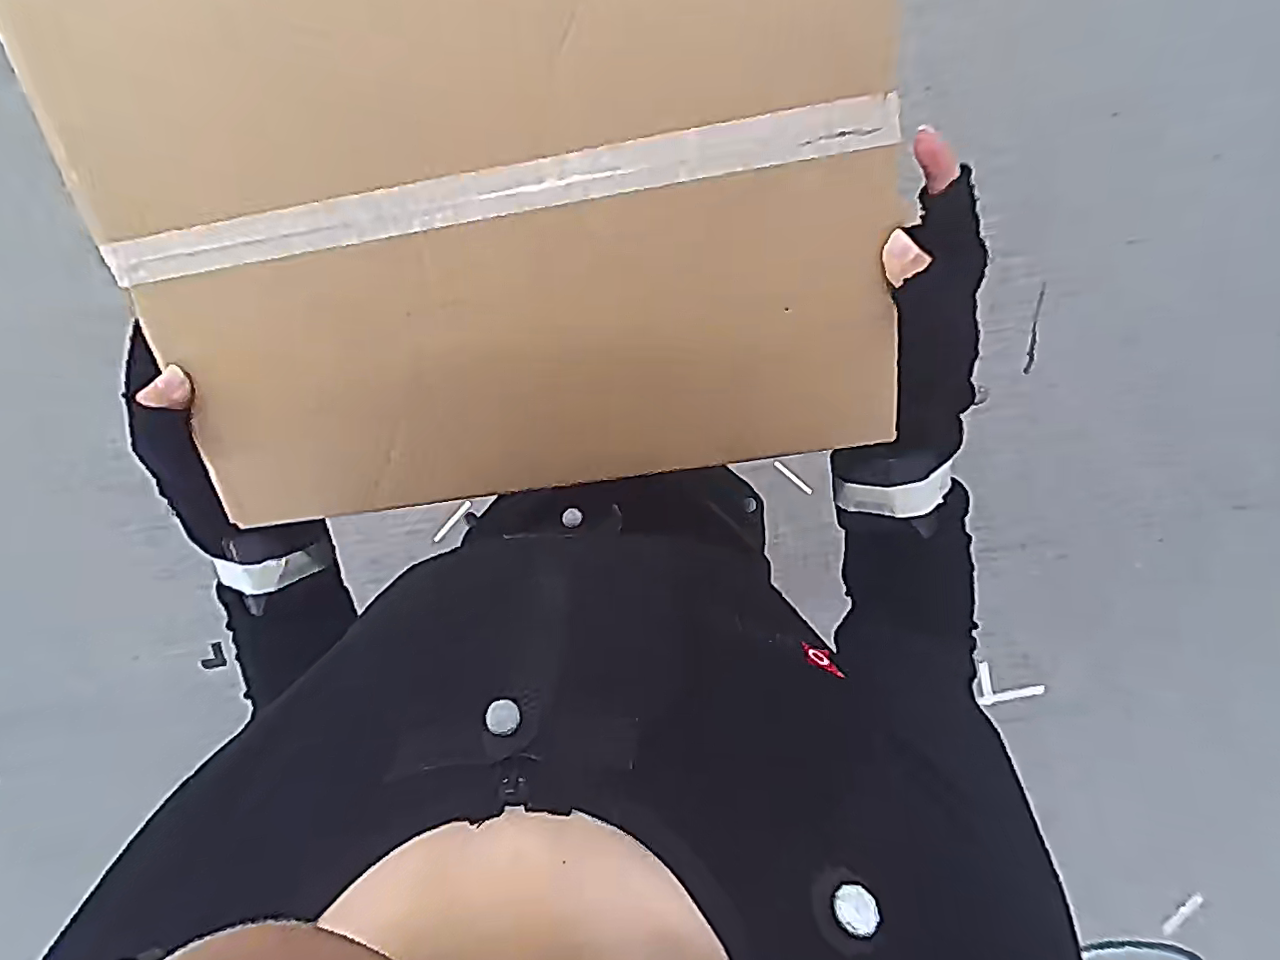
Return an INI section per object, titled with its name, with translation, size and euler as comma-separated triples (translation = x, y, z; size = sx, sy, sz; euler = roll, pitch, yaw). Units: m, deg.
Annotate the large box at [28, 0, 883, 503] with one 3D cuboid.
[large box]
translation = -0.076, -0.206, 0.418
size = 0.408, 0.320, 0.320
euler = -8, 111, 5
